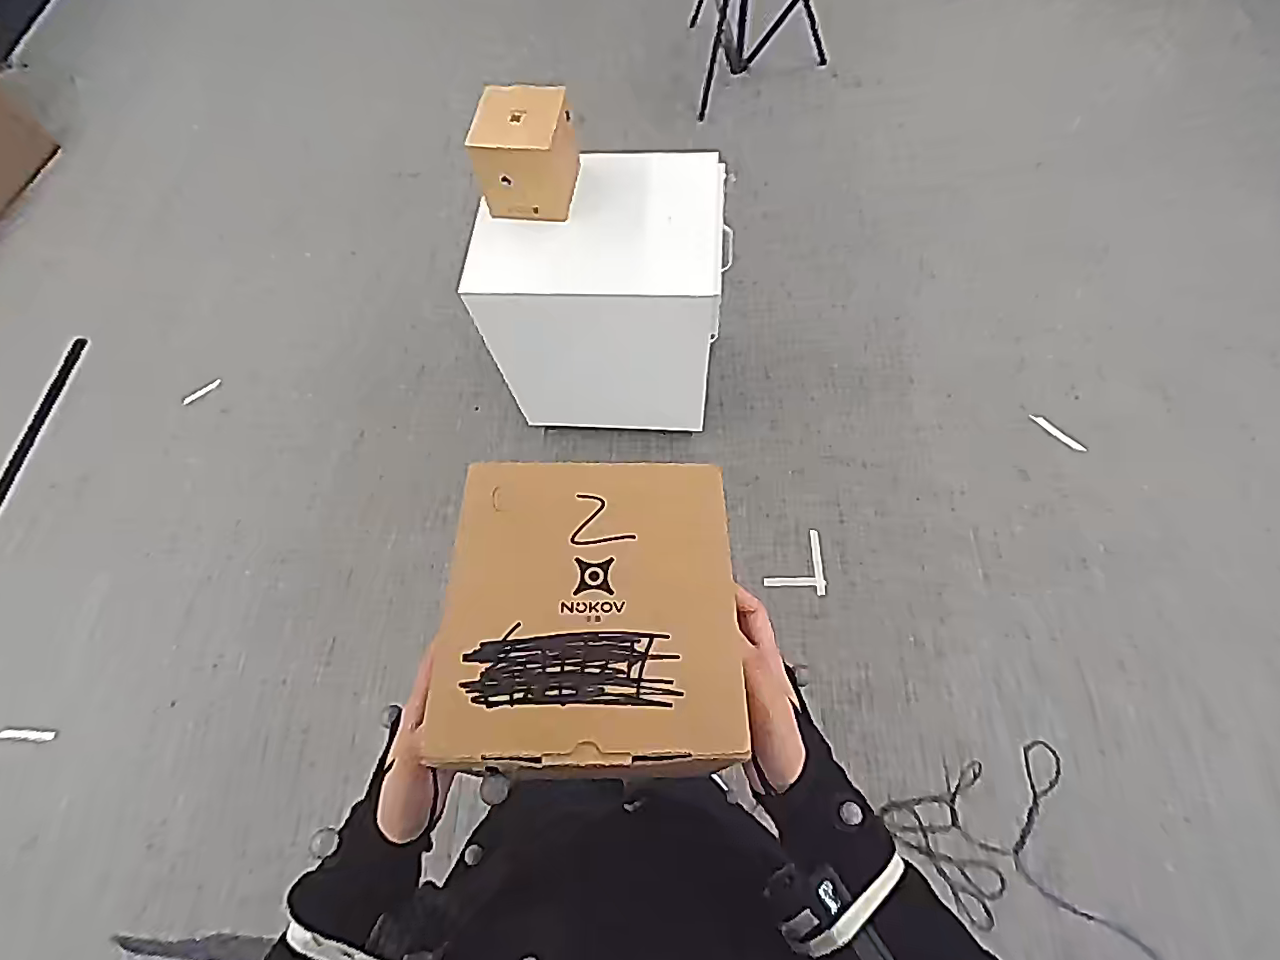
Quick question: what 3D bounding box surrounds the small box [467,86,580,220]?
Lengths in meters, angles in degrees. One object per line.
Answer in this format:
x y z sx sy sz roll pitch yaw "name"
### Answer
-0.224 -0.652 1.090 0.168 0.176 0.179 6 68 6 "small box"
